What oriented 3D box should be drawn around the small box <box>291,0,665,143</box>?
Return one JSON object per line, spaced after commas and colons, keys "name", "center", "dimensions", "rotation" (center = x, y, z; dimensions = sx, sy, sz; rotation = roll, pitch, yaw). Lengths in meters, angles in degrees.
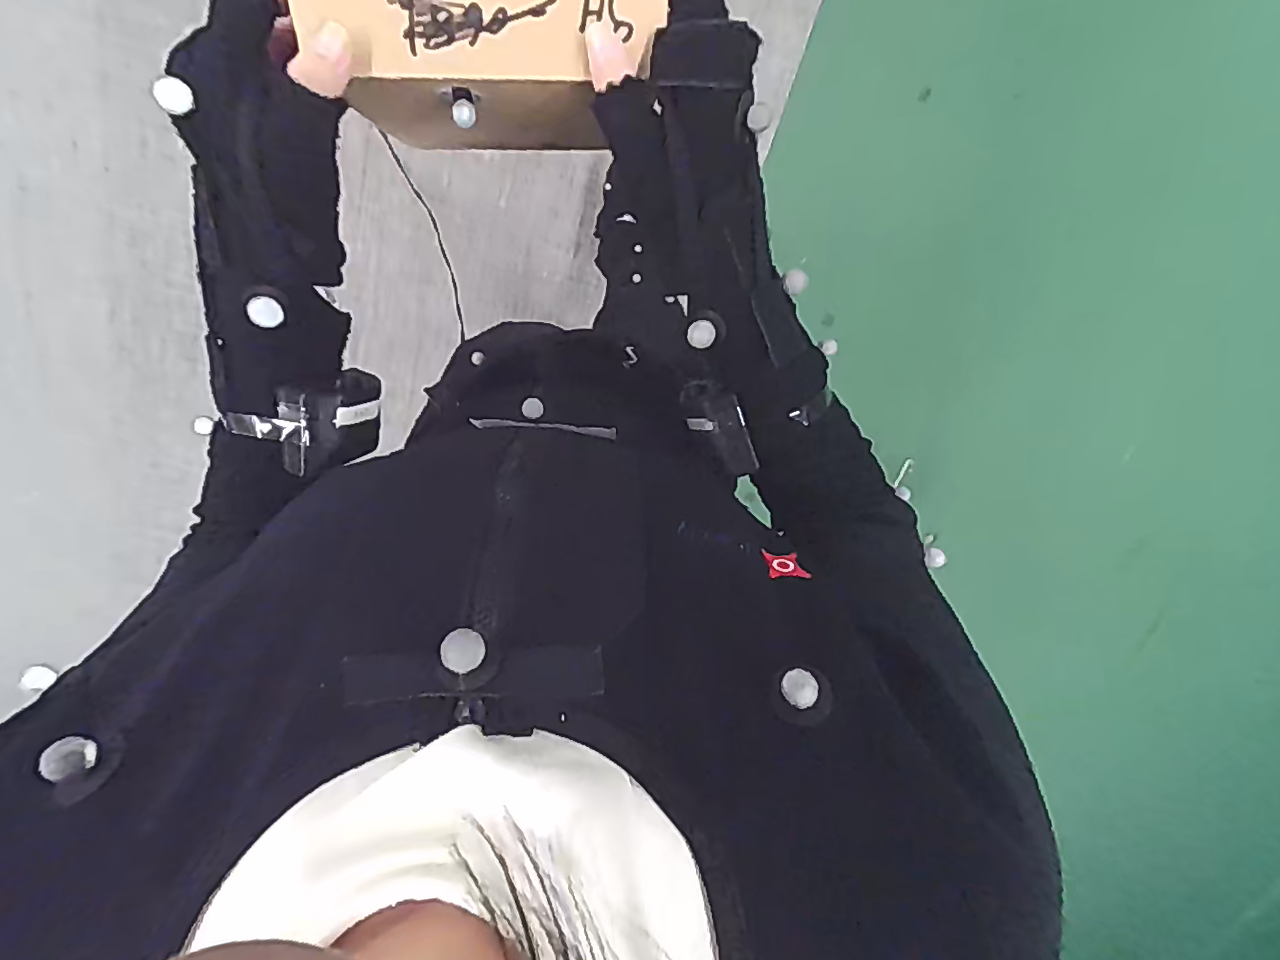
{"name": "small box", "center": [-0.079, -0.303, 0.291], "dimensions": [0.168, 0.176, 0.179], "rotation": [-3, 111, -6]}
